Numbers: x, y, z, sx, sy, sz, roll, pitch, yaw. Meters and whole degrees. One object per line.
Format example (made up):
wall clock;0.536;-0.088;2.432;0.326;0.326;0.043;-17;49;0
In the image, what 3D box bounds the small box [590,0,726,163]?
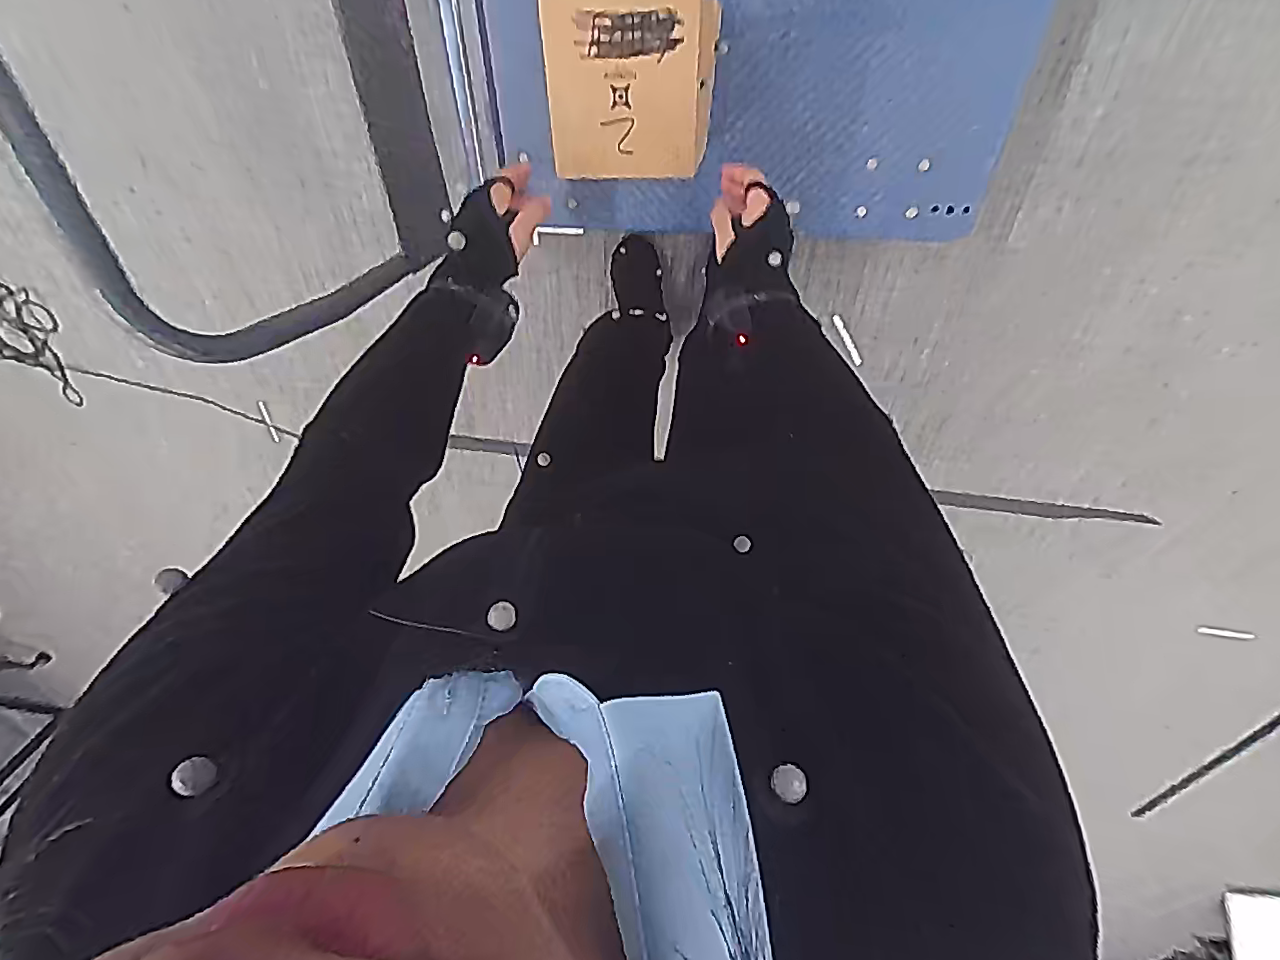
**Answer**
small box;0.026;-0.570;0.770;0.168;0.176;0.179;8;129;4
